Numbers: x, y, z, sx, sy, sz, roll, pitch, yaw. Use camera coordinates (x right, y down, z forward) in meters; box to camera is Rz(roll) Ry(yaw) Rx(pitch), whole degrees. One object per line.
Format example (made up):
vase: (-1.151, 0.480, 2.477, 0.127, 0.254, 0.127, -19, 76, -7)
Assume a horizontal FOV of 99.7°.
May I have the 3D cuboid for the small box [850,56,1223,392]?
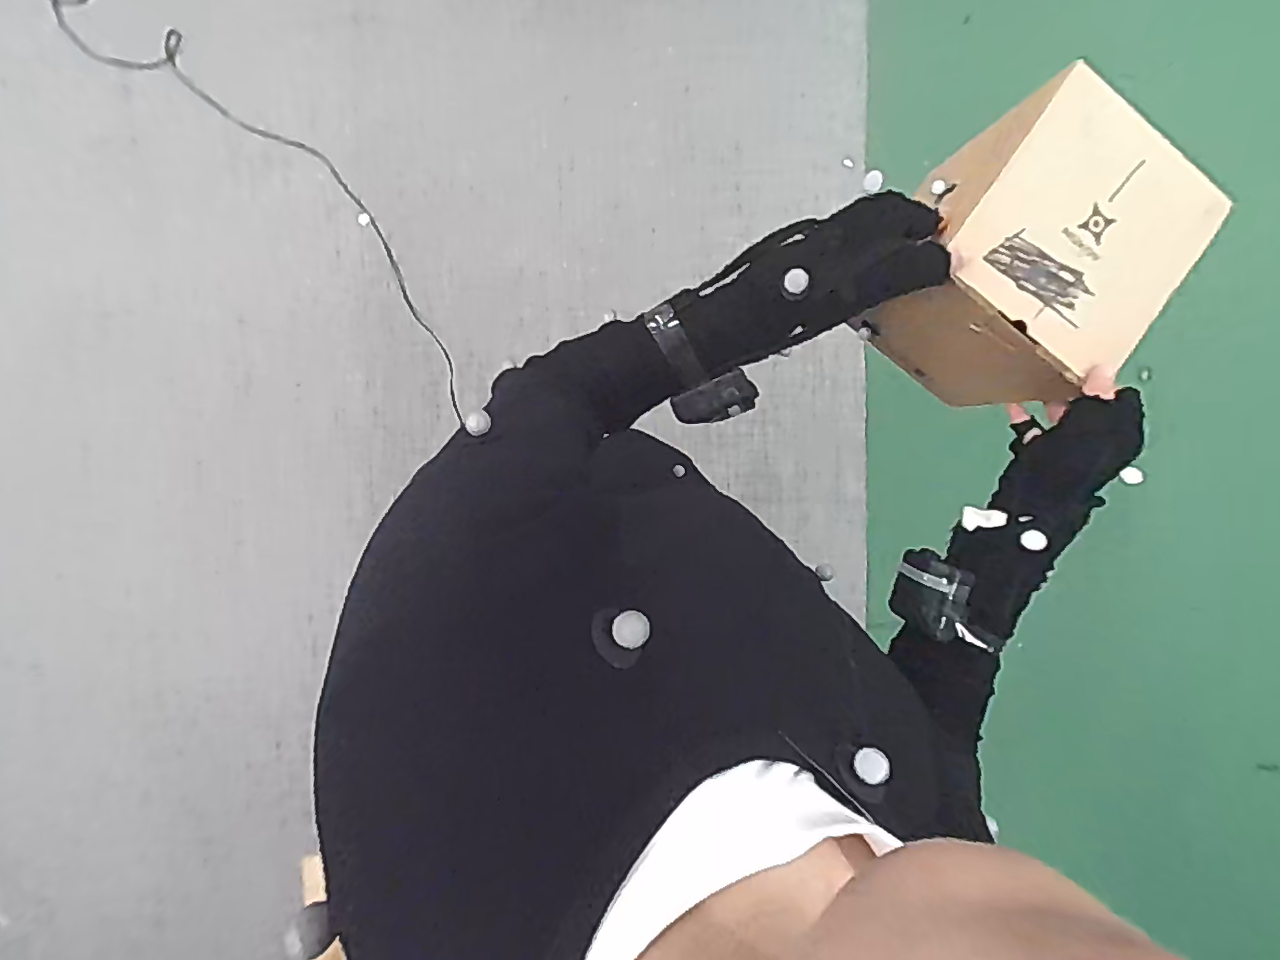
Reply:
small box: (0.316, -0.195, 0.476, 0.168, 0.176, 0.179, 34, 90, -8)
